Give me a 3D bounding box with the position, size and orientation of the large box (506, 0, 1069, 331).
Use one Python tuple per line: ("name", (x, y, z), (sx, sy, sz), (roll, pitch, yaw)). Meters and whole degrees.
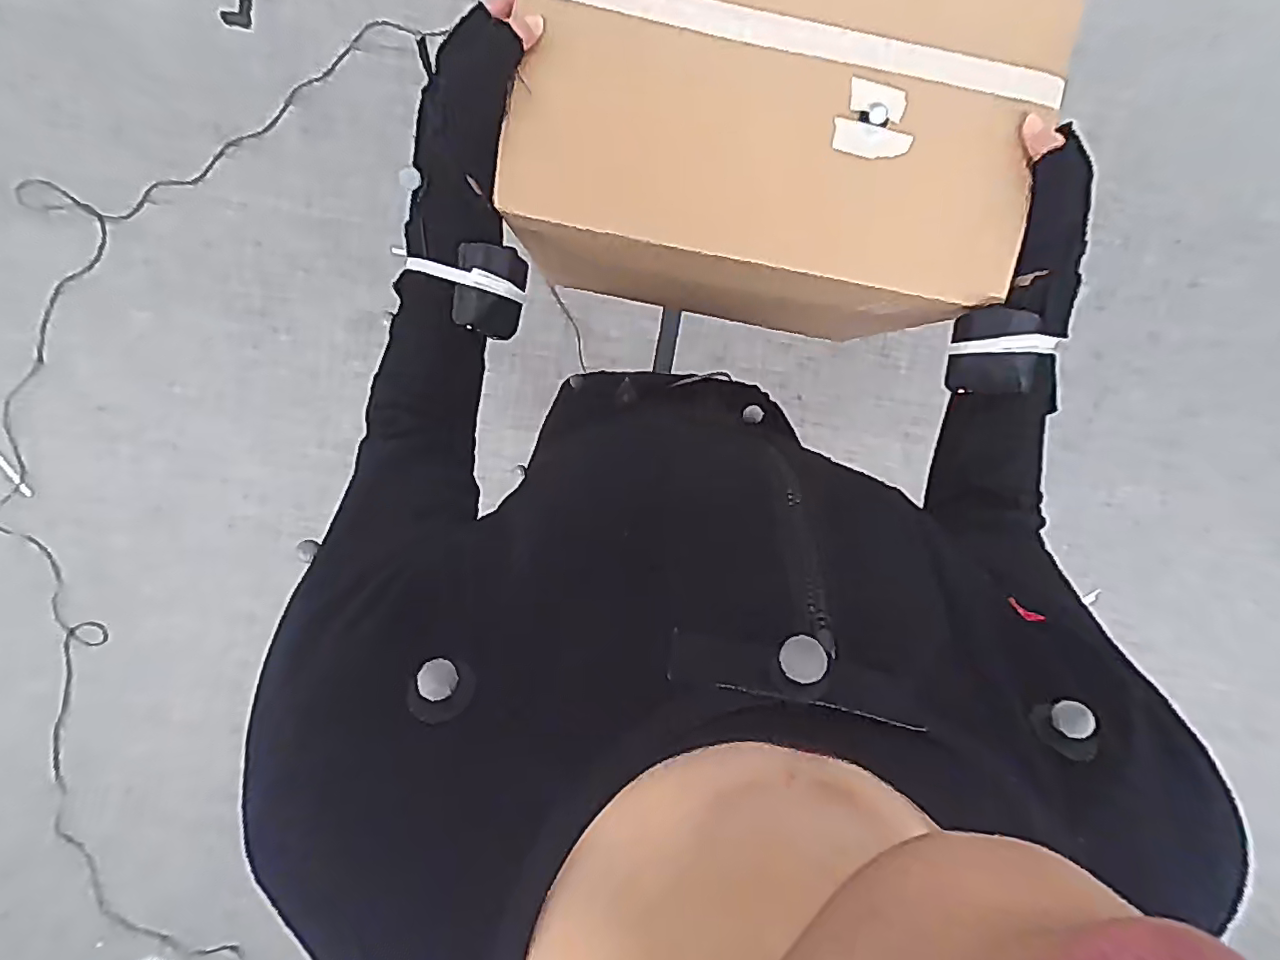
("large box", (0.106, -0.353, 0.549), (0.408, 0.320, 0.320), (10, 101, -5))
